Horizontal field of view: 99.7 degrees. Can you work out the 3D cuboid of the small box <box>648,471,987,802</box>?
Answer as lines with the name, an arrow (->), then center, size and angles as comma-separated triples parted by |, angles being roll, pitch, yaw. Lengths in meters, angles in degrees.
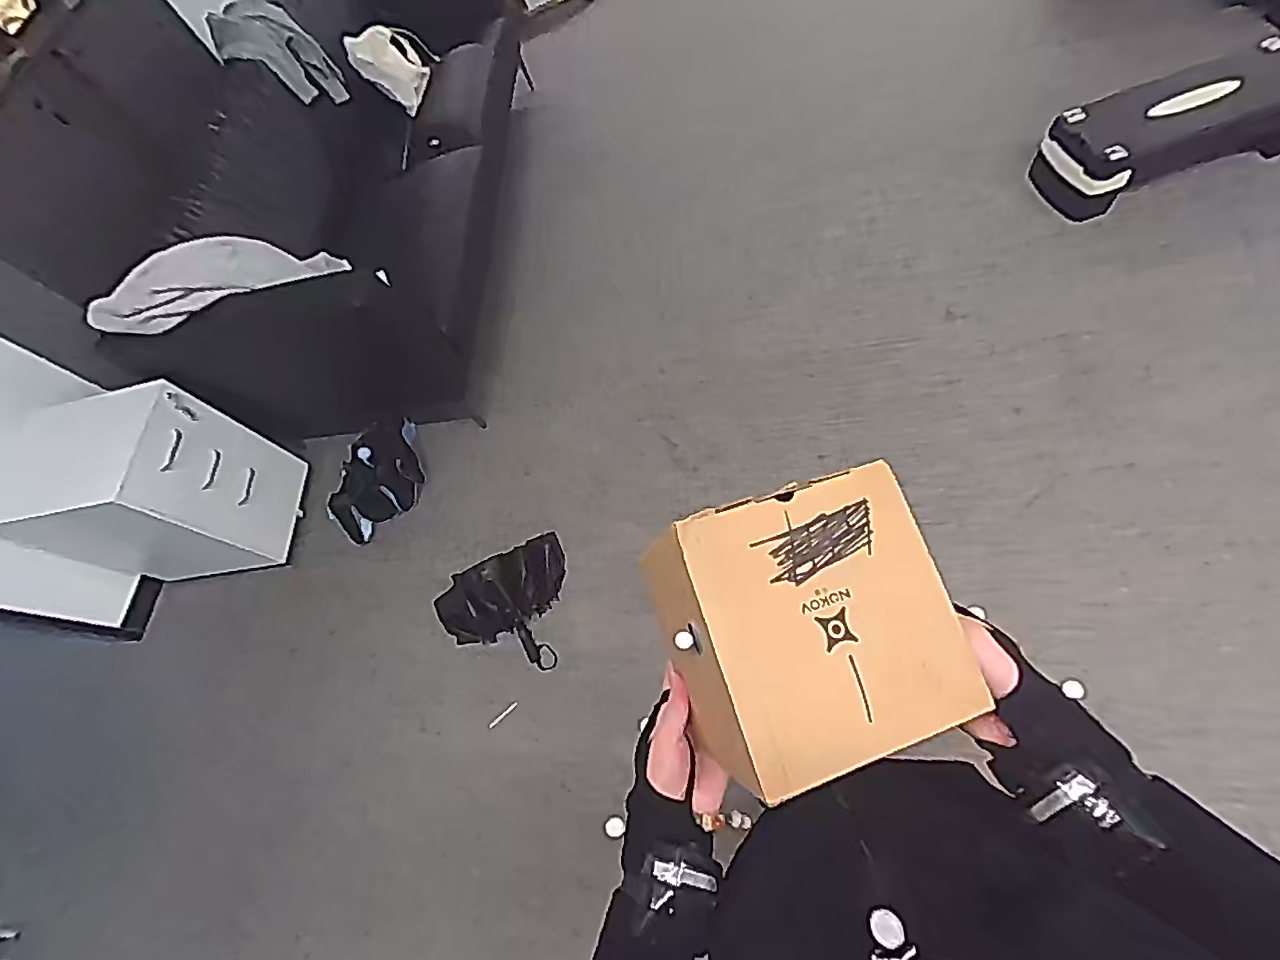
small box -> 0.114, 0.113, 0.429 | 0.168, 0.176, 0.179 | -15, 78, -11
